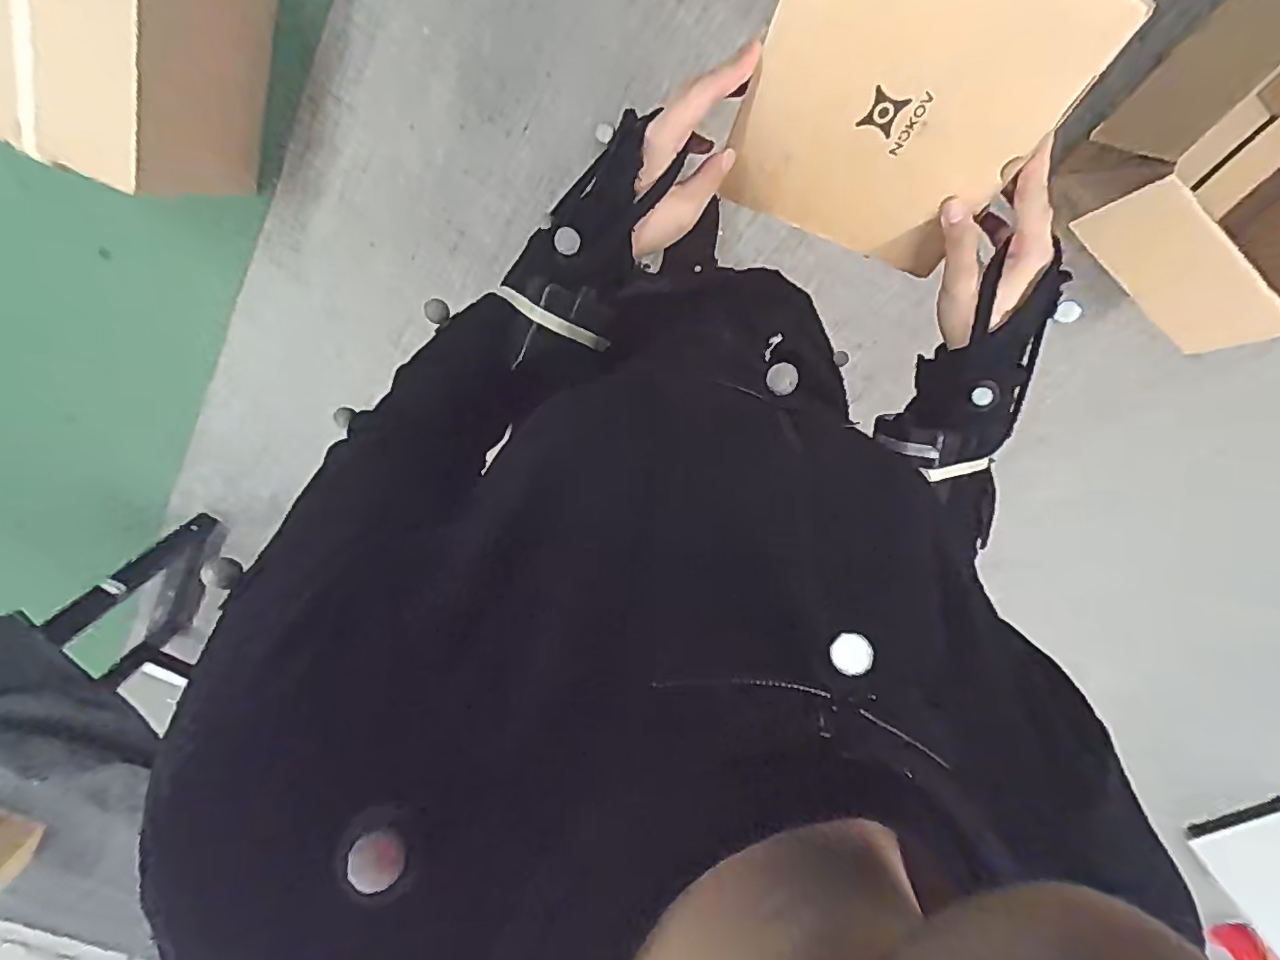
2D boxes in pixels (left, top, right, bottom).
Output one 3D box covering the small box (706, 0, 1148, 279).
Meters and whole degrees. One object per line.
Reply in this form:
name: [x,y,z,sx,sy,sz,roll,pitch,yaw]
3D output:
small box: [0.166,-0.278,0.366,0.179,0.176,0.168,20,145,-4]
